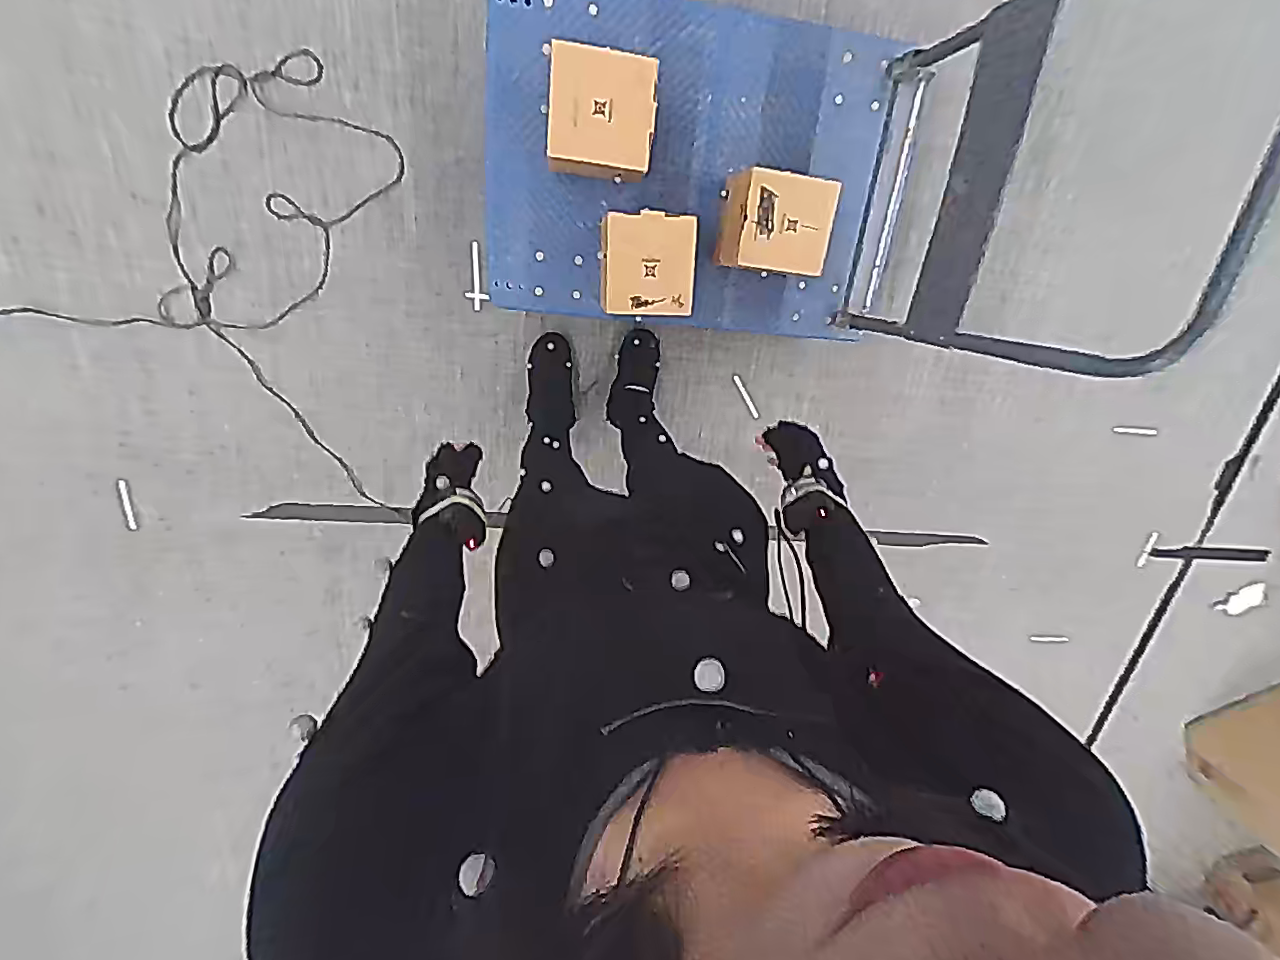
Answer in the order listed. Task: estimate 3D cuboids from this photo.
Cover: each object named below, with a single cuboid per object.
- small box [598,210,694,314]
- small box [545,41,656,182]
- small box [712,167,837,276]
[{"bbox_3d":[0.003,-0.428,1.076,0.168,0.176,0.179,-1,111,-8],"label":"small box"},{"bbox_3d":[-0.078,-0.648,0.974,0.179,0.176,0.168,3,111,-9],"label":"small box"},{"bbox_3d":[0.256,-0.506,1.081,0.179,0.176,0.168,4,111,-11],"label":"small box"}]
